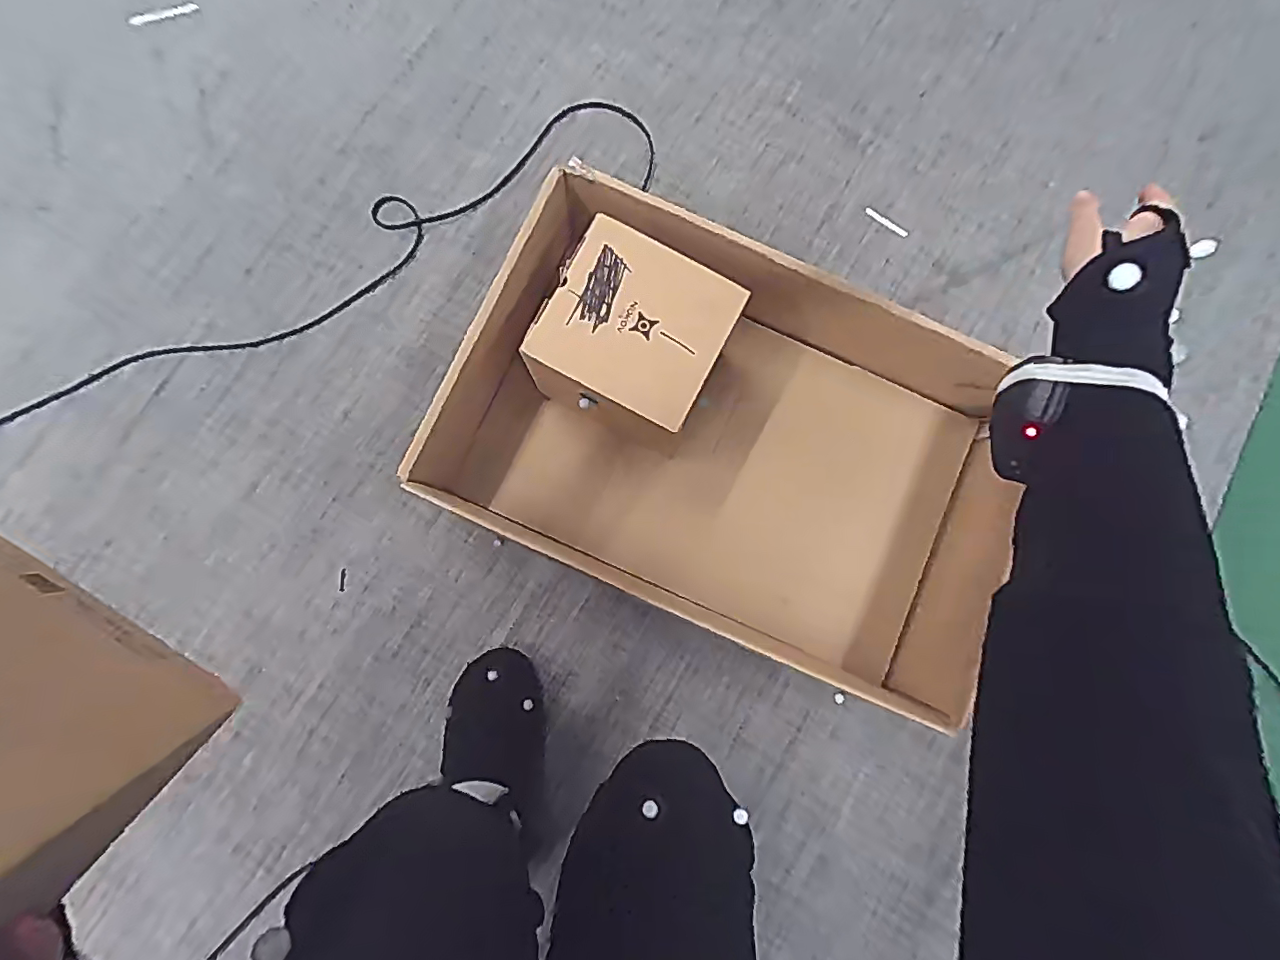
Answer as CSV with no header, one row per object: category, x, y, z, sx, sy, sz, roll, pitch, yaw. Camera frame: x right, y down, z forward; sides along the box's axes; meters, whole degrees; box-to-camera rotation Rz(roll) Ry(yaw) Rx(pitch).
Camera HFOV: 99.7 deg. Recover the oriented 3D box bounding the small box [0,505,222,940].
small box,-0.295,0.110,0.172,0.168,0.176,0.179,42,73,-10
